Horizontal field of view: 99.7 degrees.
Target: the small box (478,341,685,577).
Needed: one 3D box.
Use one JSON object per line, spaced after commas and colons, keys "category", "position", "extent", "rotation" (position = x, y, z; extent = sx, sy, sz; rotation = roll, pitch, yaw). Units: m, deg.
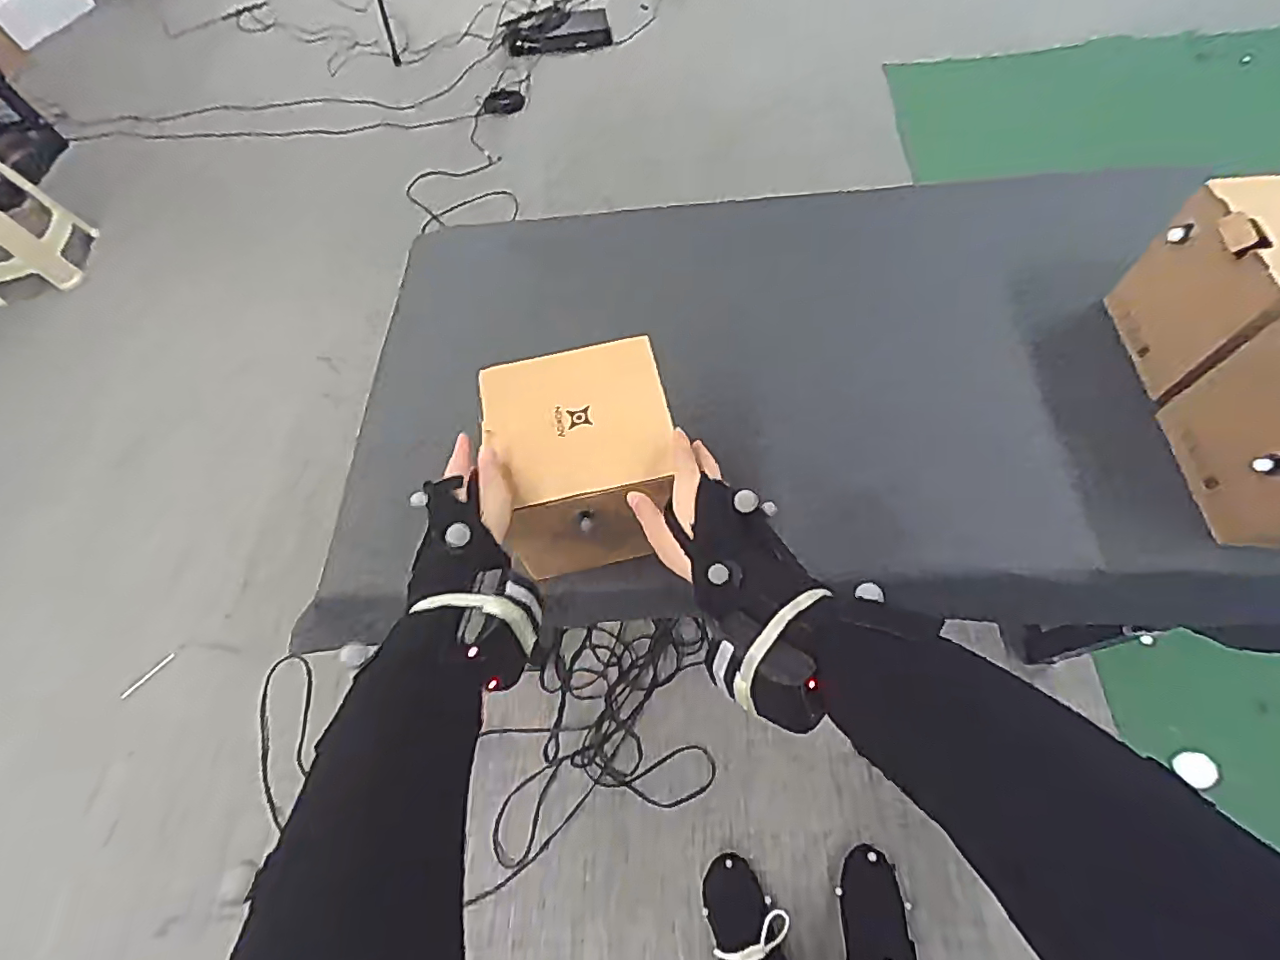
{"category": "small box", "position": [-0.055, -0.014, 0.569], "extent": [0.179, 0.176, 0.168], "rotation": [-13, 61, 0]}
